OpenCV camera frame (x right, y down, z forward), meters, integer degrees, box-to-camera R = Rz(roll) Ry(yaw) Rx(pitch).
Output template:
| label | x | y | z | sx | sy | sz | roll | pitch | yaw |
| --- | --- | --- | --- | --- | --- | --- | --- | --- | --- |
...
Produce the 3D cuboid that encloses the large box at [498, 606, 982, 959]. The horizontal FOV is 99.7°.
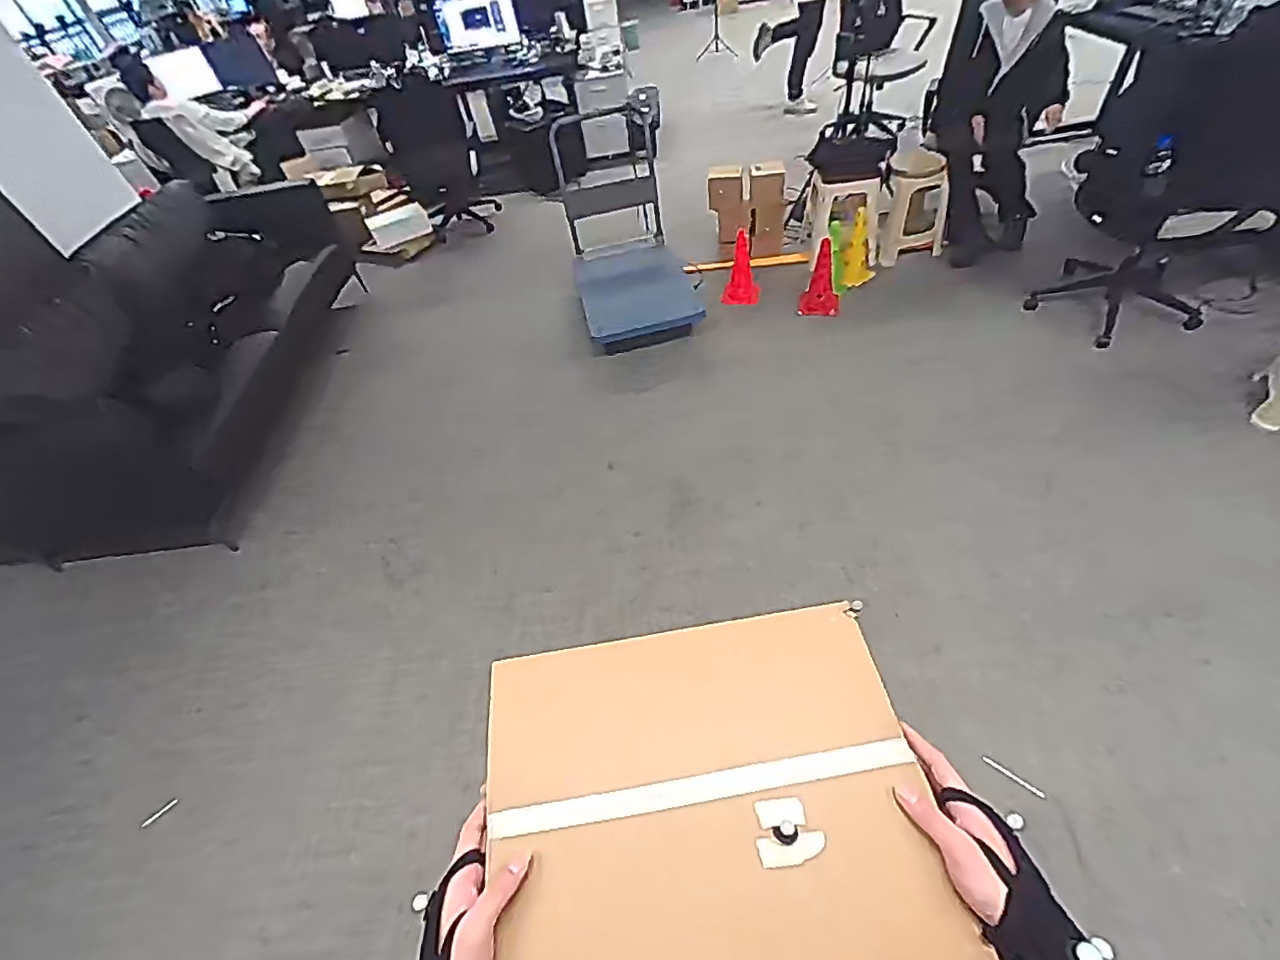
| label | x | y | z | sx | sy | sz | roll | pitch | yaw |
| --- | --- | --- | --- | --- | --- | --- | --- | --- | --- |
| large box | 0.071 | 0.389 | 0.634 | 0.408 | 0.320 | 0.320 | -9 | 51 | -2 |
